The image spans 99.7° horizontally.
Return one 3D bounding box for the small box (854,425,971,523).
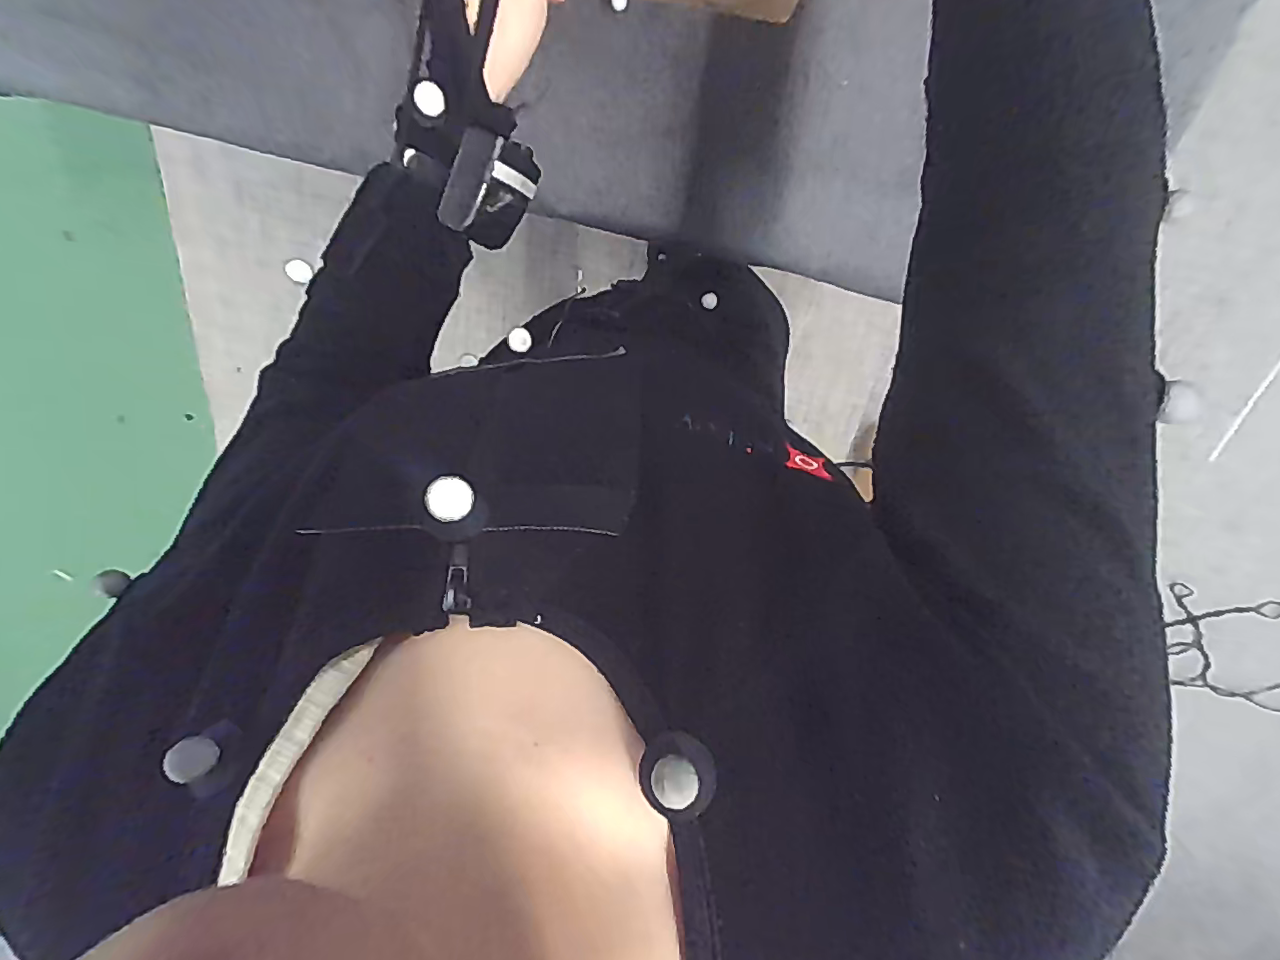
[{"bbox_3d":[0.630,-0.020,1.274,0.179,0.176,0.168,8,117,3],"label":"small box"}]
